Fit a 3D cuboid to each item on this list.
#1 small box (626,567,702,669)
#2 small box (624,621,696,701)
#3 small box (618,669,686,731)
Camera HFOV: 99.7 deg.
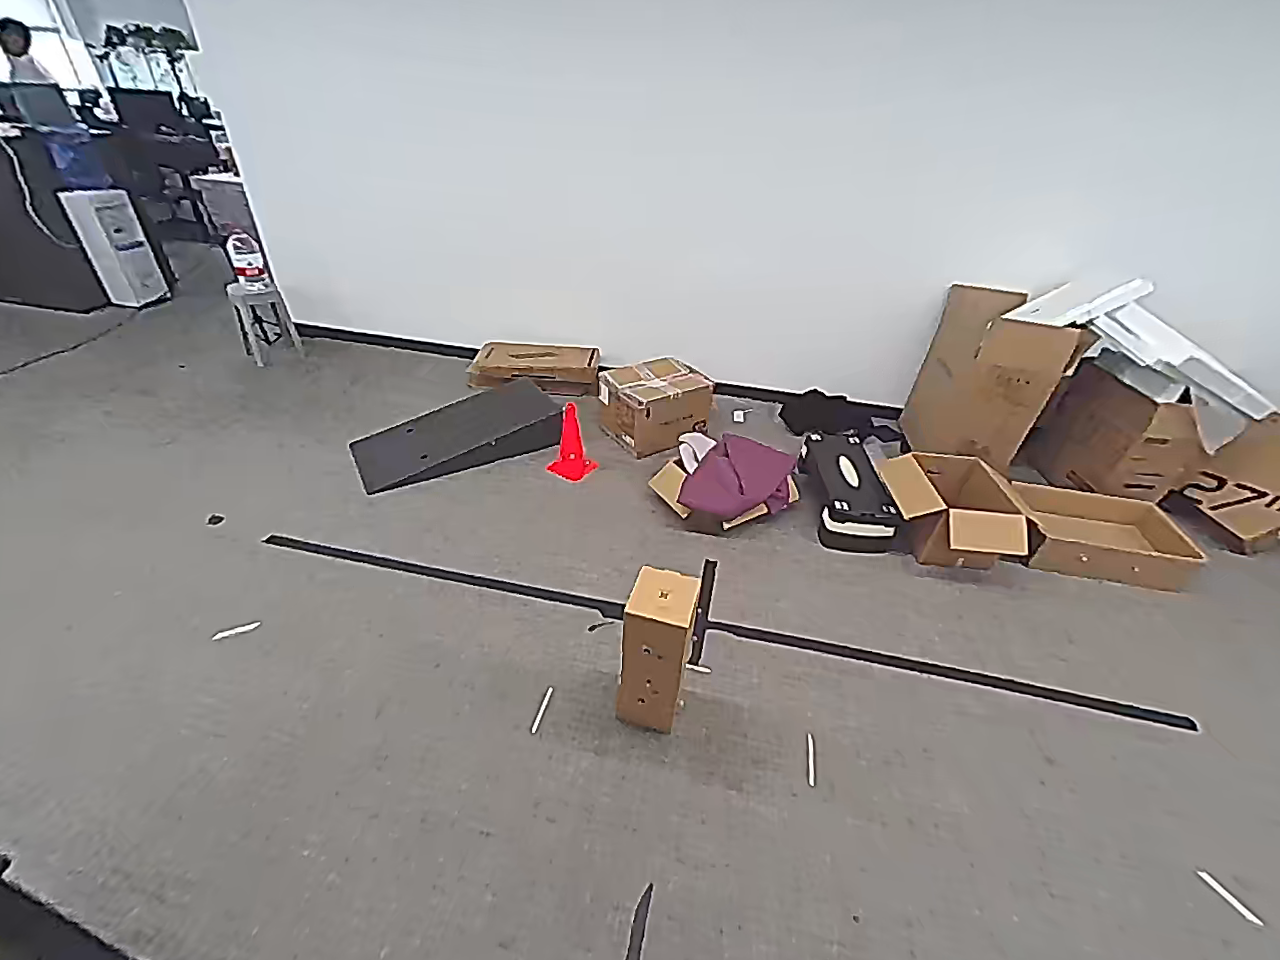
[{"bbox_3d":[0.061,0.363,1.430,0.168,0.176,0.179,11,37,11],"label":"small box"},{"bbox_3d":[0.055,0.488,1.535,0.168,0.176,0.179,12,36,11],"label":"small box"},{"bbox_3d":[0.037,0.623,1.627,0.179,0.176,0.168,12,36,11],"label":"small box"}]
